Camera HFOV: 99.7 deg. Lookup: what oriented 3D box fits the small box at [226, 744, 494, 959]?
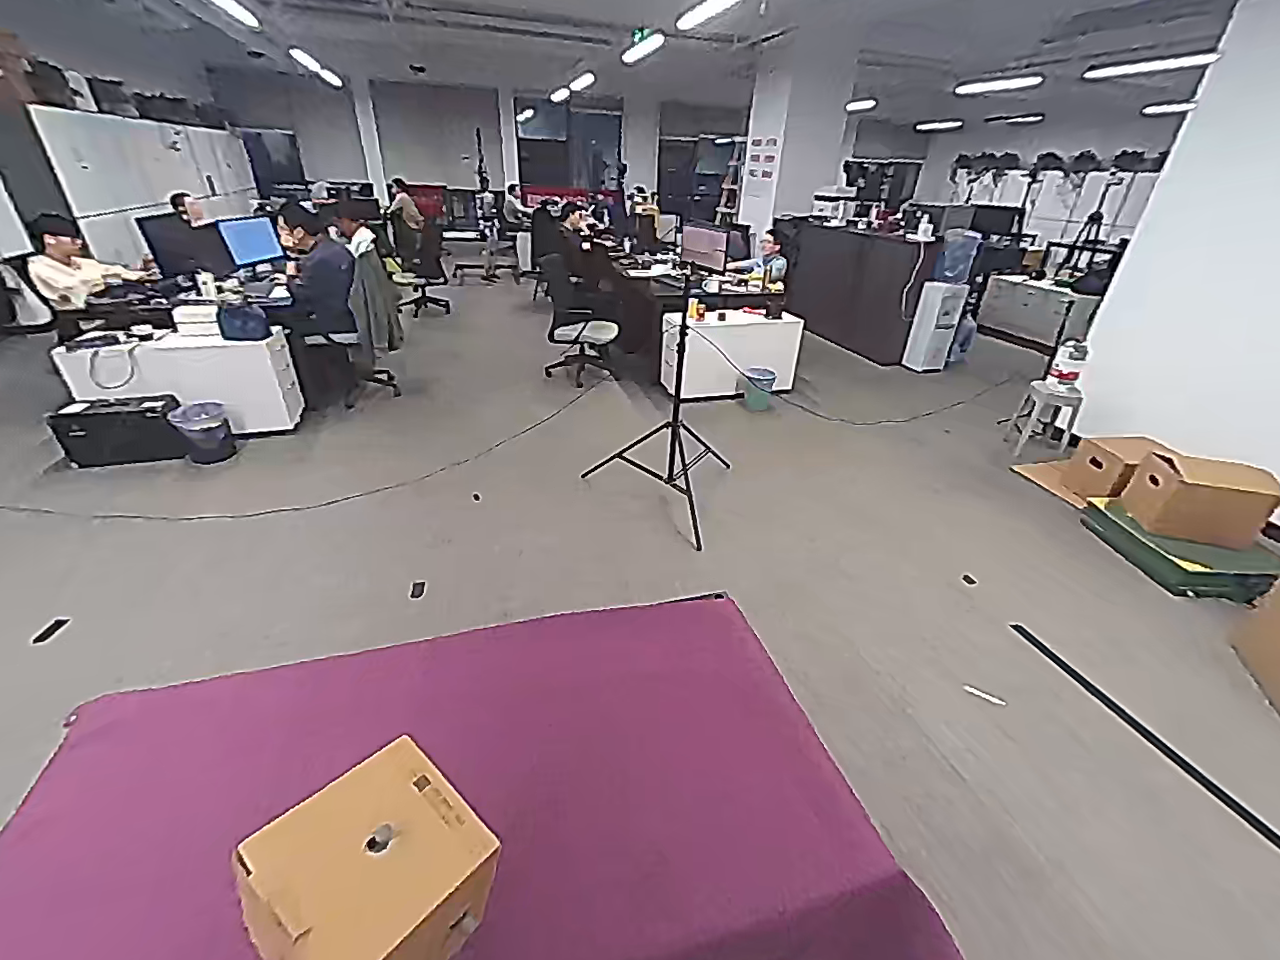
[{"bbox_3d":[-0.266,0.406,0.530,0.168,0.179,0.176,32,32,26],"label":"small box"}]
